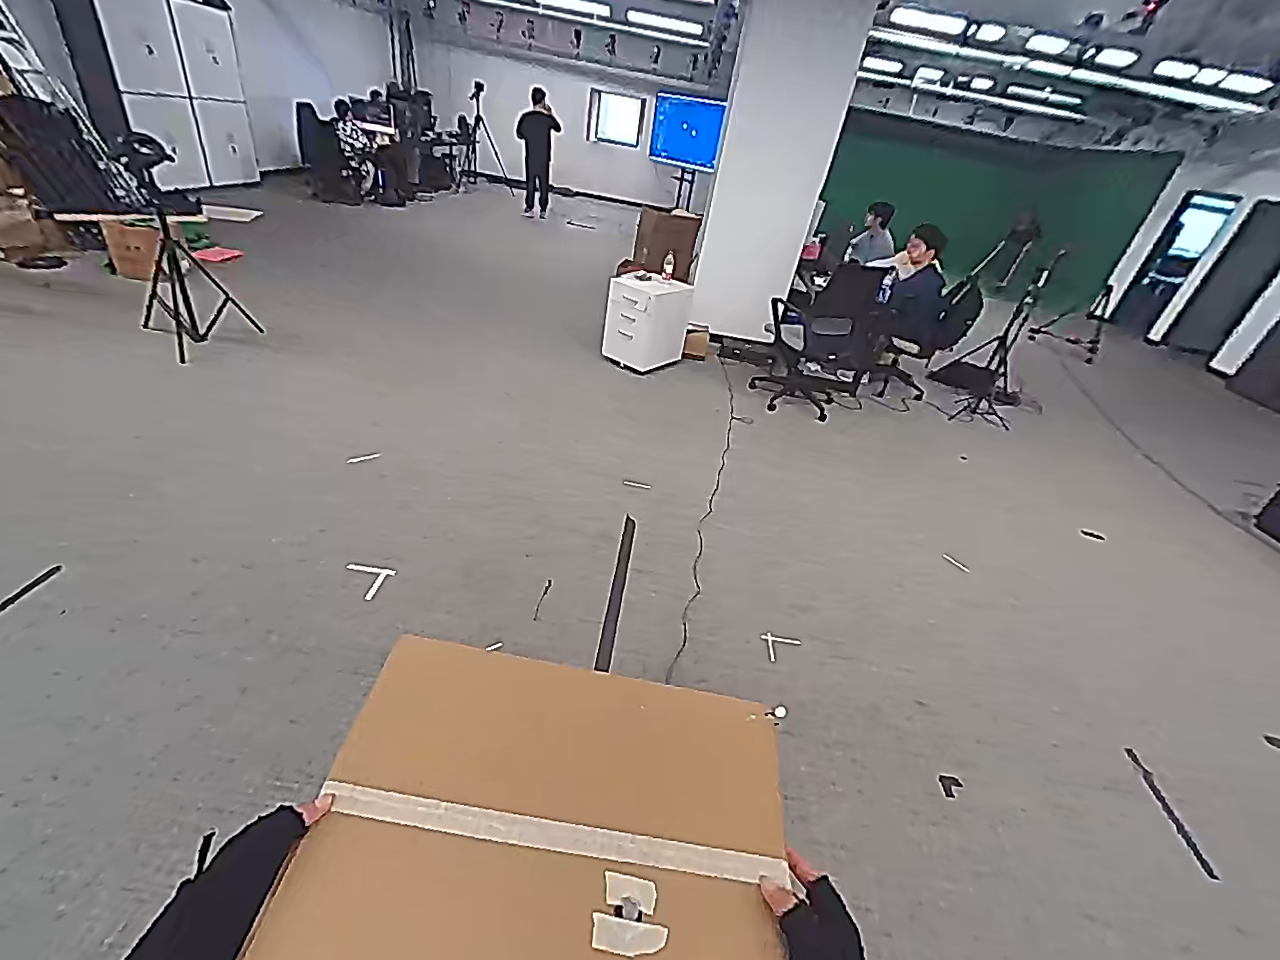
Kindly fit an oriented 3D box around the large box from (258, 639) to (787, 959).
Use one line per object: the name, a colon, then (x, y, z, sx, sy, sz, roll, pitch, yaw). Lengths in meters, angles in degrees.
large box: (-0.096, 0.417, 0.574, 0.408, 0.320, 0.320, 12, 41, -2)
